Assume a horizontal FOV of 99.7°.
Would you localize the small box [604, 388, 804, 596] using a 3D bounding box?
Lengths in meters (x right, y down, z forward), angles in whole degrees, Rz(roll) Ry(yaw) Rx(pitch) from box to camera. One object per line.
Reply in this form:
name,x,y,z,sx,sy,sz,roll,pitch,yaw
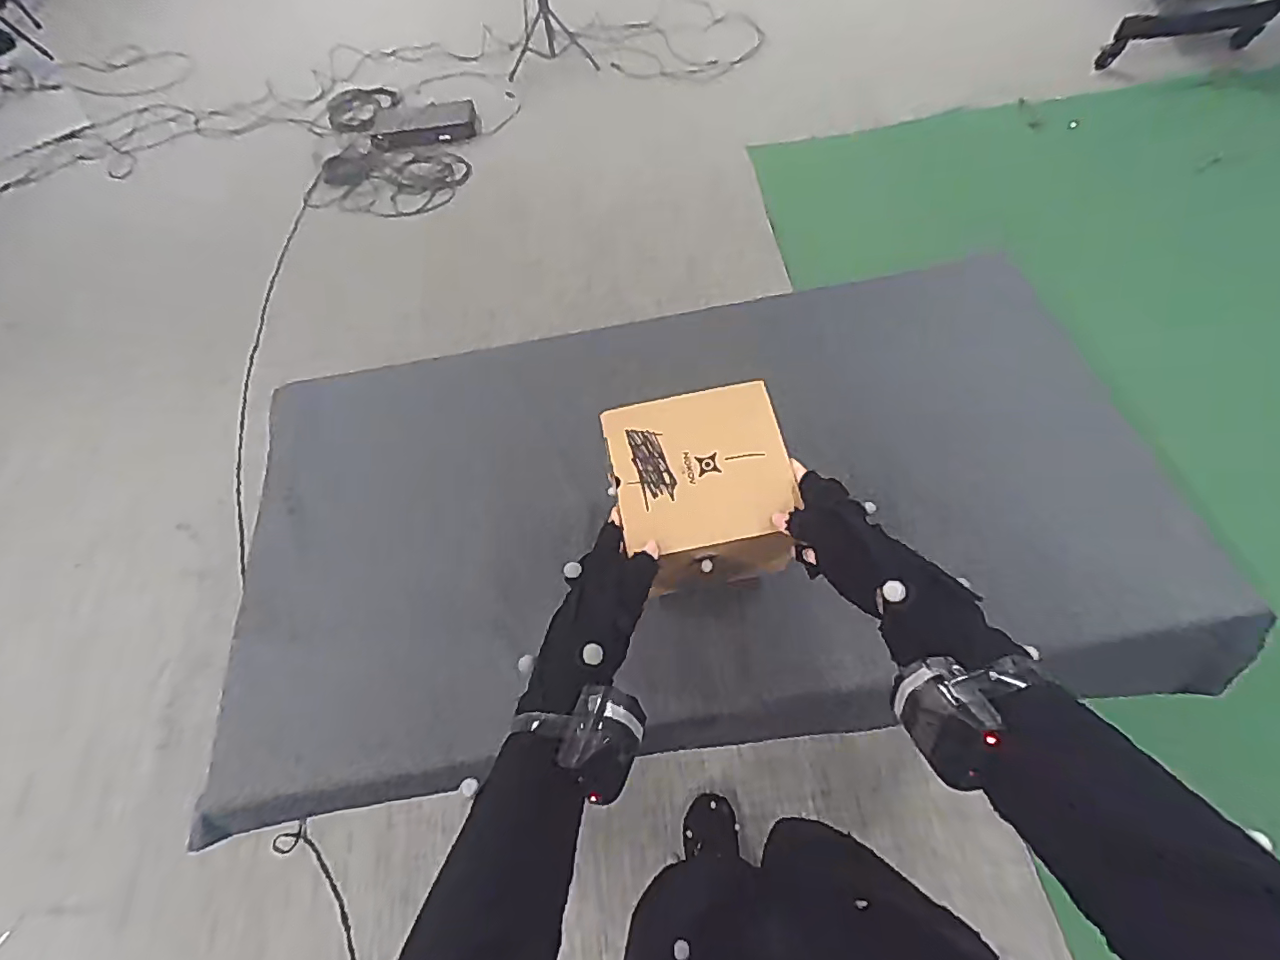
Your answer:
small box,0.066,0.024,0.615,0.179,0.176,0.168,-11,65,0
